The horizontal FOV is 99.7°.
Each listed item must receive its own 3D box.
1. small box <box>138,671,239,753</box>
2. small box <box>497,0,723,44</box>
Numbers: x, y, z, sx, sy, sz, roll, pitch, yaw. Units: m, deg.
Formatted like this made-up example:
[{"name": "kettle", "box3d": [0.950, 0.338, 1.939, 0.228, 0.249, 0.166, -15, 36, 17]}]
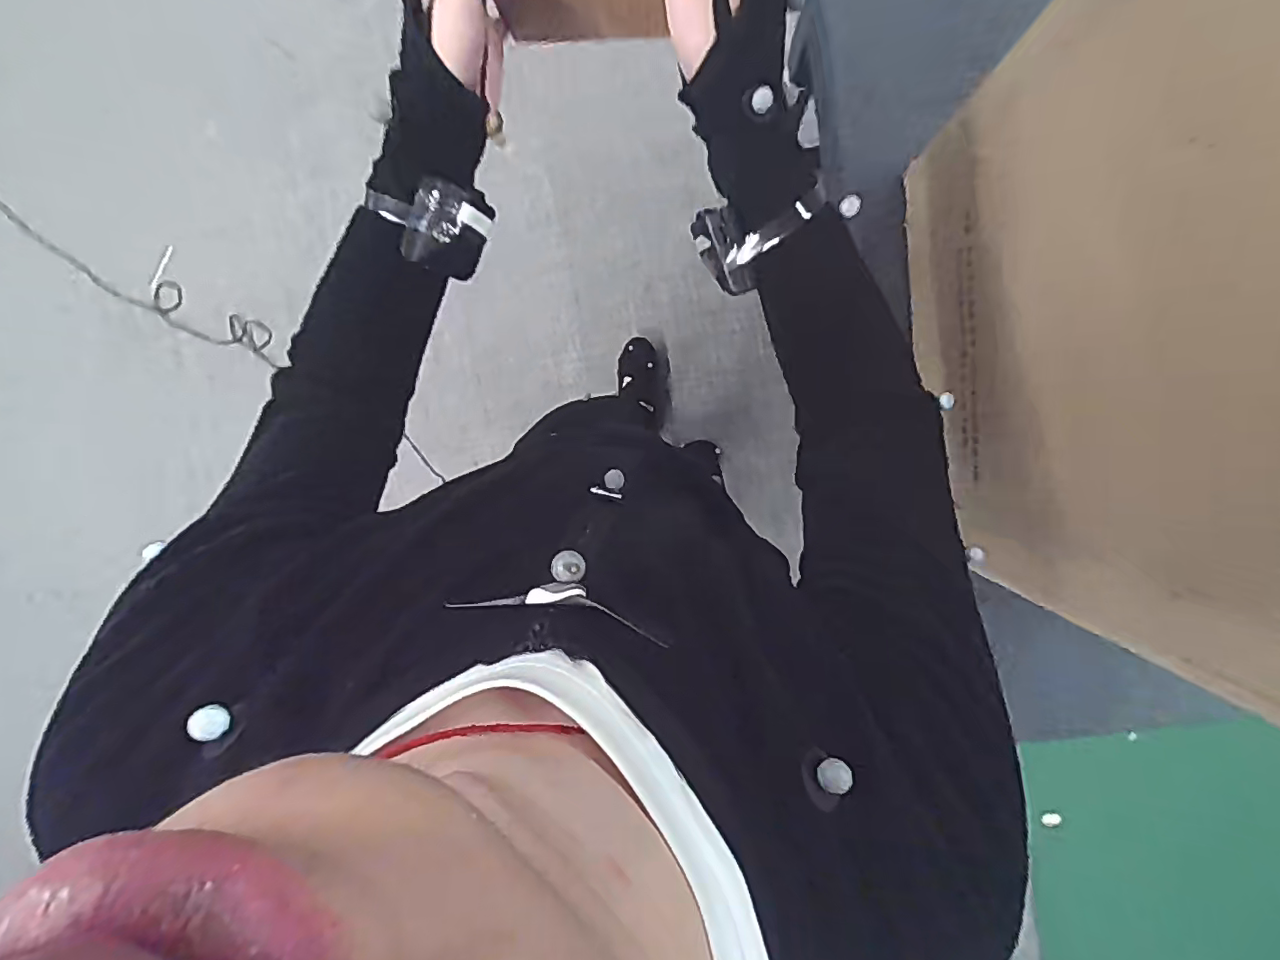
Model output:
[{"name": "small box", "box3d": [-1.383, 0.711, 1.667, 0.168, 0.176, 0.179, -2, 97, 6]}, {"name": "small box", "box3d": [-0.029, -0.432, 0.357, 0.179, 0.176, 0.168, 6, 92, 9]}]
